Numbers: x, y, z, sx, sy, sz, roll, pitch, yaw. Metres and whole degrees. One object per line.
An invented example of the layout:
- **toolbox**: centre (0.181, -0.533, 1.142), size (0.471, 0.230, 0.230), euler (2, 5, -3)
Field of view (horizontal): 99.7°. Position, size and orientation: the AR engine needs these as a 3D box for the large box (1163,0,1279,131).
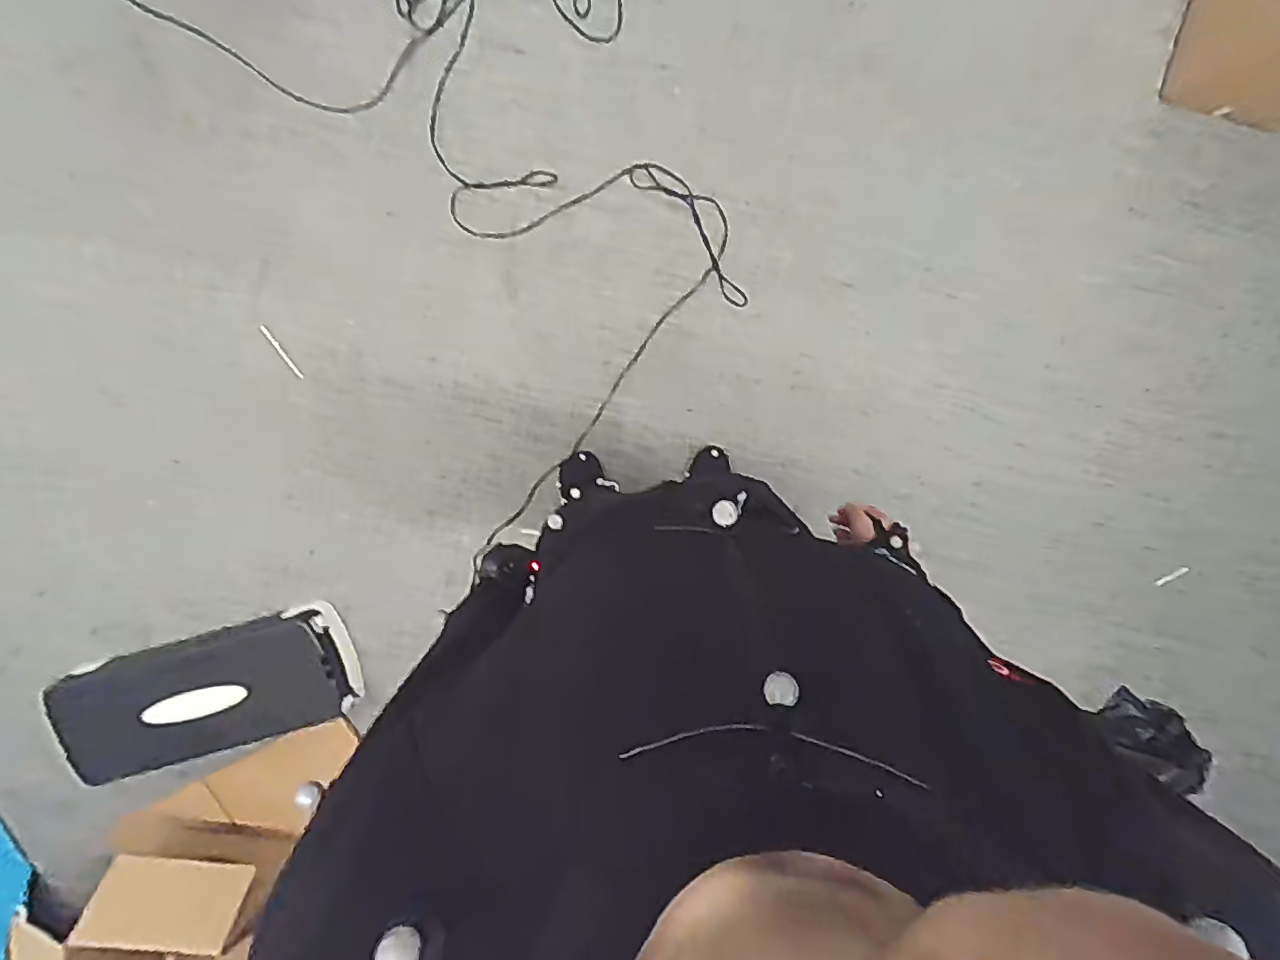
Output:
- **large box**: centre (1.461, -1.061, 1.156), size (0.320, 0.320, 0.408), euler (11, 99, -4)
